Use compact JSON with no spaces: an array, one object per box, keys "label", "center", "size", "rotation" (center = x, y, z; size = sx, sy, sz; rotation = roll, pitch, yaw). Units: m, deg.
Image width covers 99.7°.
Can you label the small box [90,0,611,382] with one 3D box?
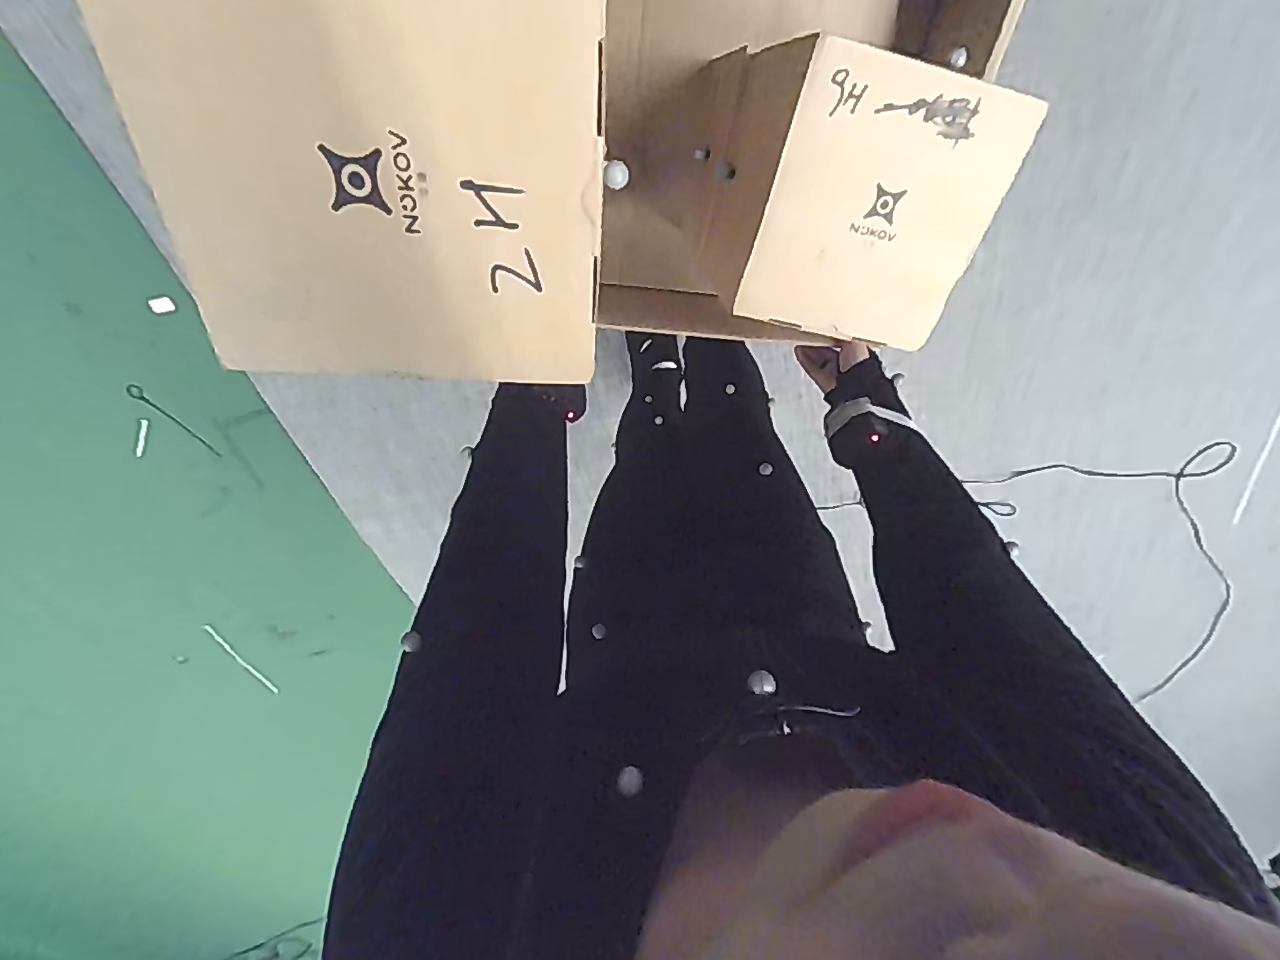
[{"label":"small box","center":[-0.109,-0.165,0.282],"size":[0.179,0.176,0.168],"rotation":[1,126,-7]}]
